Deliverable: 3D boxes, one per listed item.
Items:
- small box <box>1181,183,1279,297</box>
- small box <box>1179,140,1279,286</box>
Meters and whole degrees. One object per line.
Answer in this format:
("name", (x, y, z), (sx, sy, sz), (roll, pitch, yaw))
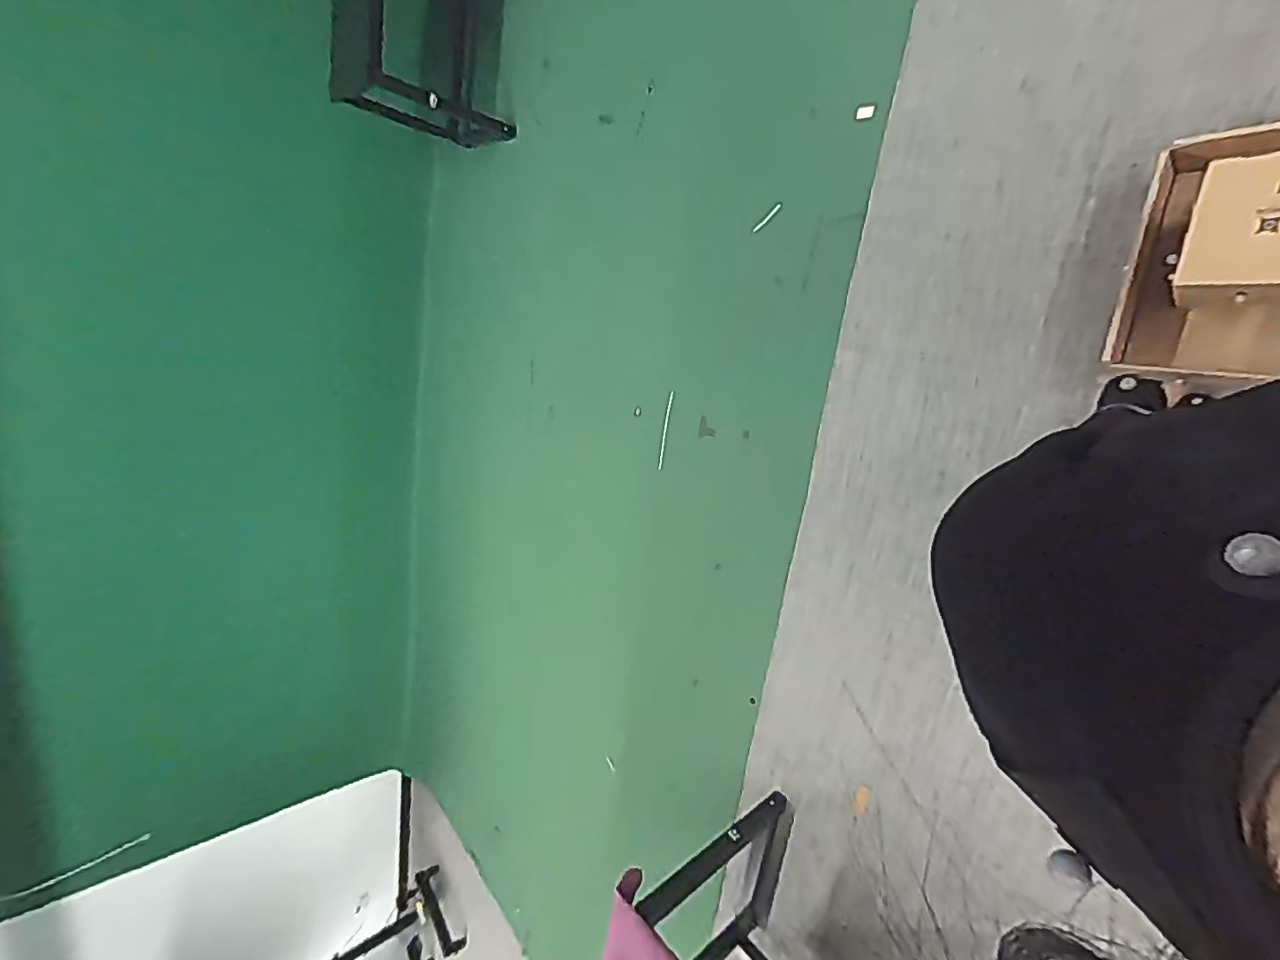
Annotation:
("small box", (1.054, -0.409, 0.912), (0.179, 0.176, 0.168), (13, 105, 44))
("small box", (0.939, -0.384, 0.796), (0.168, 0.176, 0.179), (19, 110, 44))
